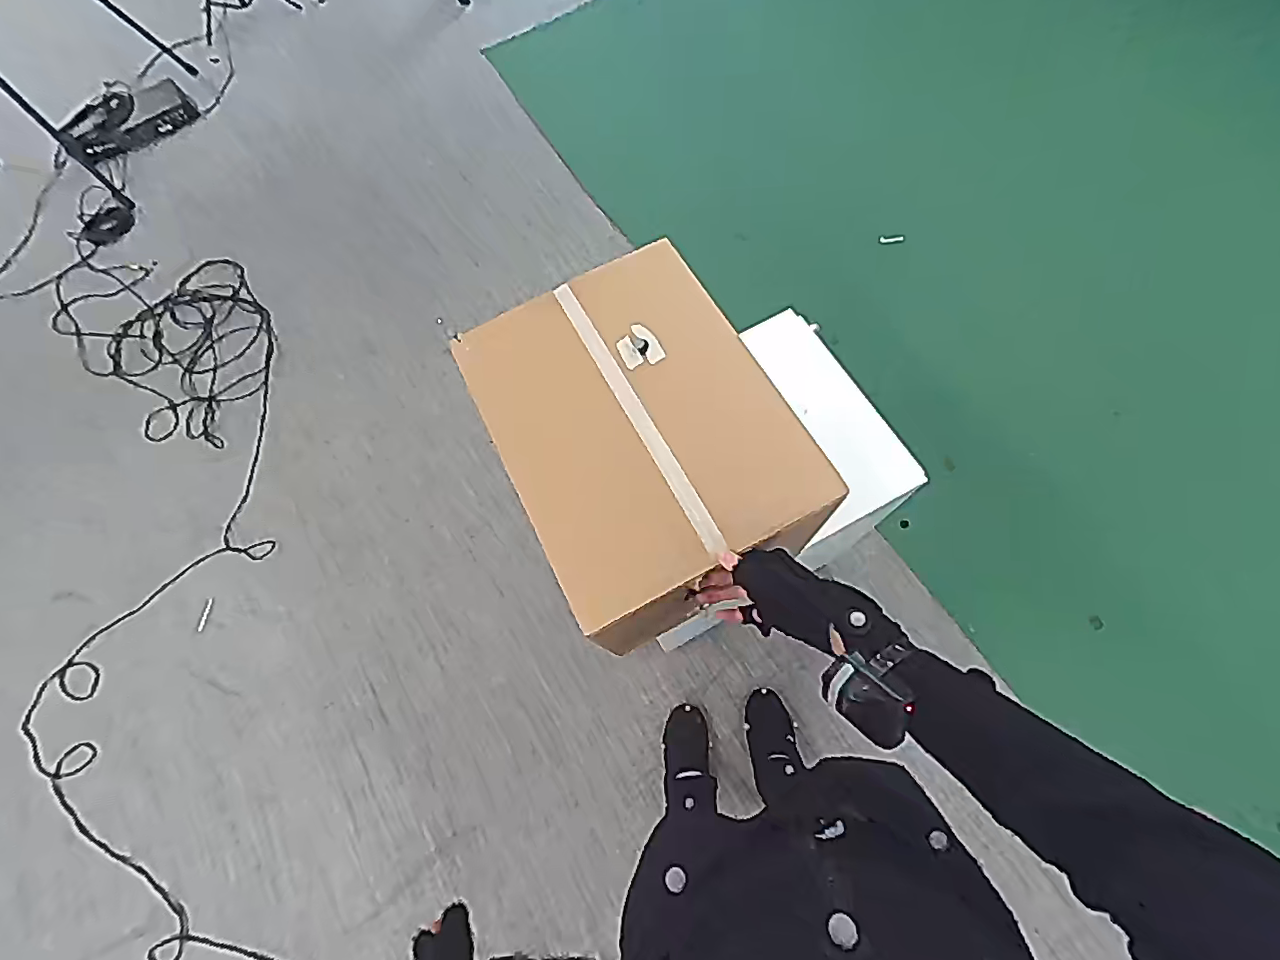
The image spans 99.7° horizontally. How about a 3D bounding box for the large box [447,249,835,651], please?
[{"bbox_3d":[-0.002,-0.022,0.761,0.320,0.320,0.408,-28,68,-6],"label":"large box"}]
